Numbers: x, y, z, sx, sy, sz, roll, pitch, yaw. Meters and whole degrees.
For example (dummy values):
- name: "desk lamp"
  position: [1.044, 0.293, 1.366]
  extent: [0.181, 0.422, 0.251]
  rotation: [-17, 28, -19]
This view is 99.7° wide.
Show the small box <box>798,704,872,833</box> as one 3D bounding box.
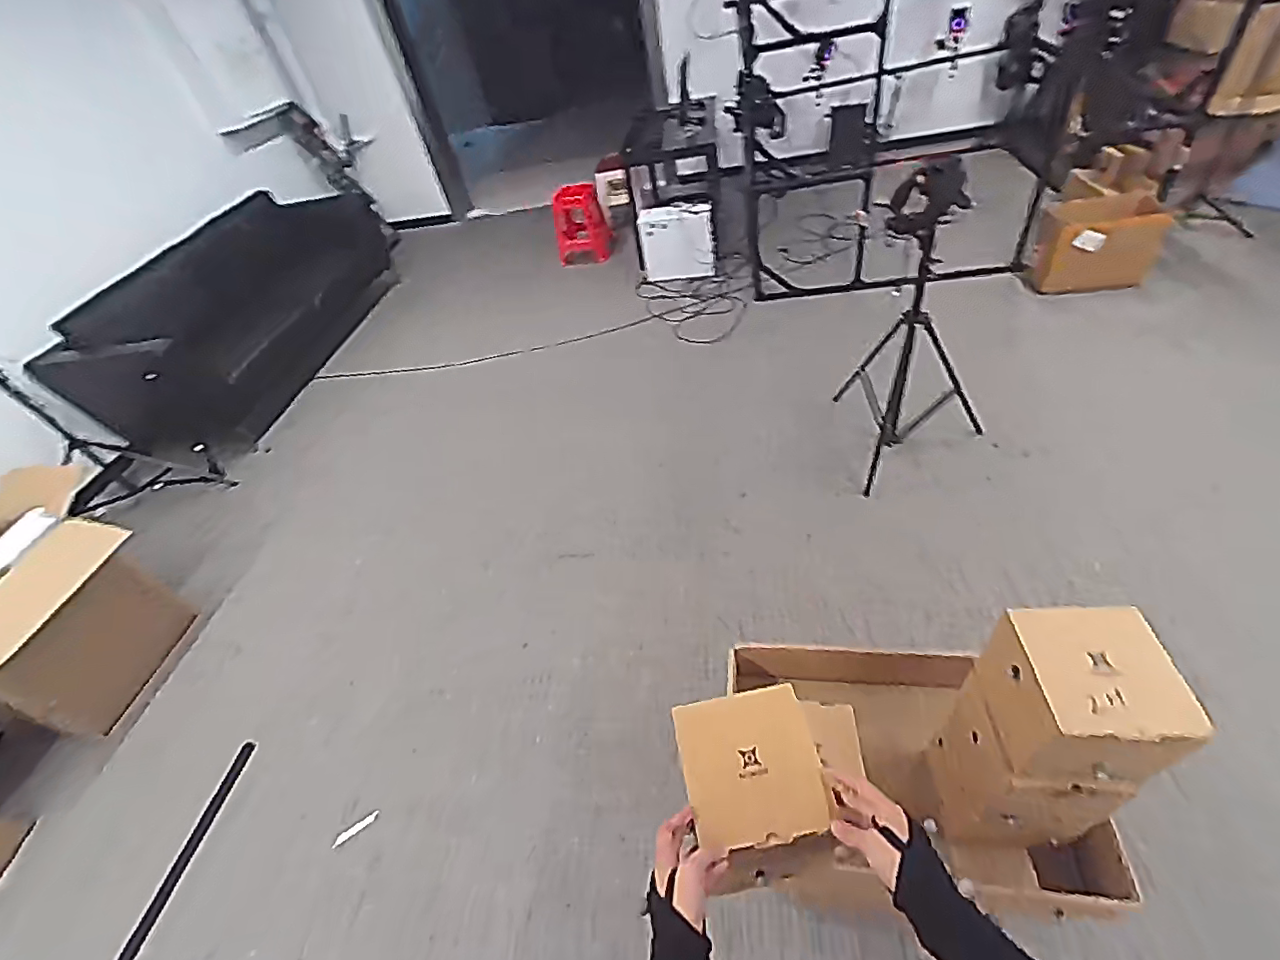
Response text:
- name: "small box"
  position: [0.332, 0.548, 1.034]
  extent: [0.168, 0.176, 0.179]
  rotation: [-4, 45, 11]

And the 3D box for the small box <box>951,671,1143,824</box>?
- name: "small box"
  position: [0.620, 0.422, 0.853]
  extent: [0.168, 0.176, 0.179]
  rotation: [-3, 45, 10]

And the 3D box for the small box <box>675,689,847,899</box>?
- name: "small box"
  position: [0.144, 0.406, 0.704]
  extent: [0.168, 0.176, 0.179]
  rotation: [-11, 42, -2]

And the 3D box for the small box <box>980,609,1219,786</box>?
- name: "small box"
  position: [0.603, 0.298, 0.745]
  extent: [0.168, 0.176, 0.179]
  rotation: [-3, 46, 10]
